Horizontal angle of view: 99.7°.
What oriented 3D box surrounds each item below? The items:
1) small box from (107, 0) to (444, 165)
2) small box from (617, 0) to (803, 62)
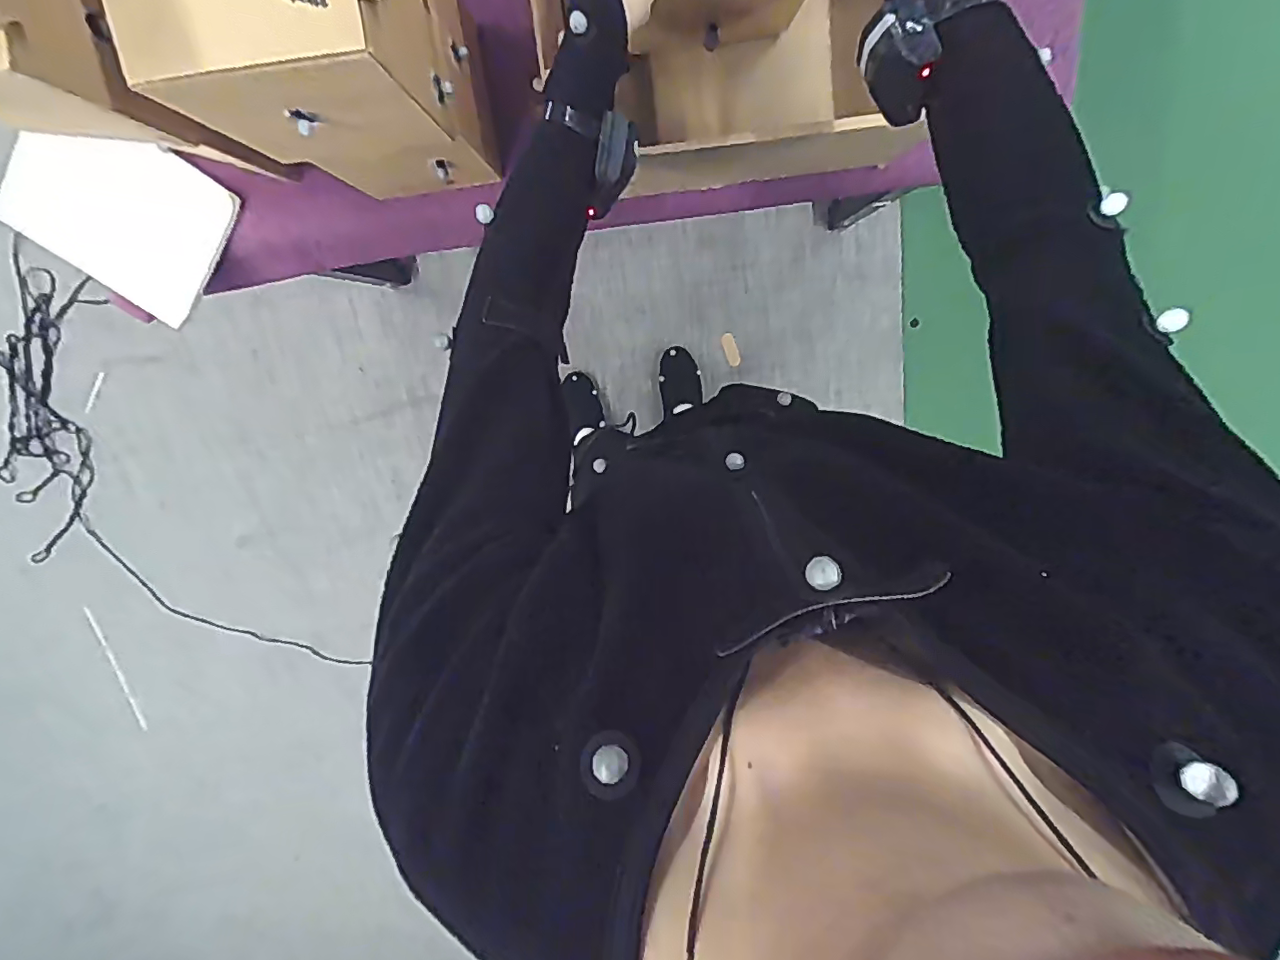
[{"bbox_3d":[-0.273,-0.374,0.429,0.179,0.176,0.168,-6,103,3],"label":"small box"},{"bbox_3d":[0.061,-0.512,0.486,0.179,0.176,0.168,-6,108,2],"label":"small box"}]
